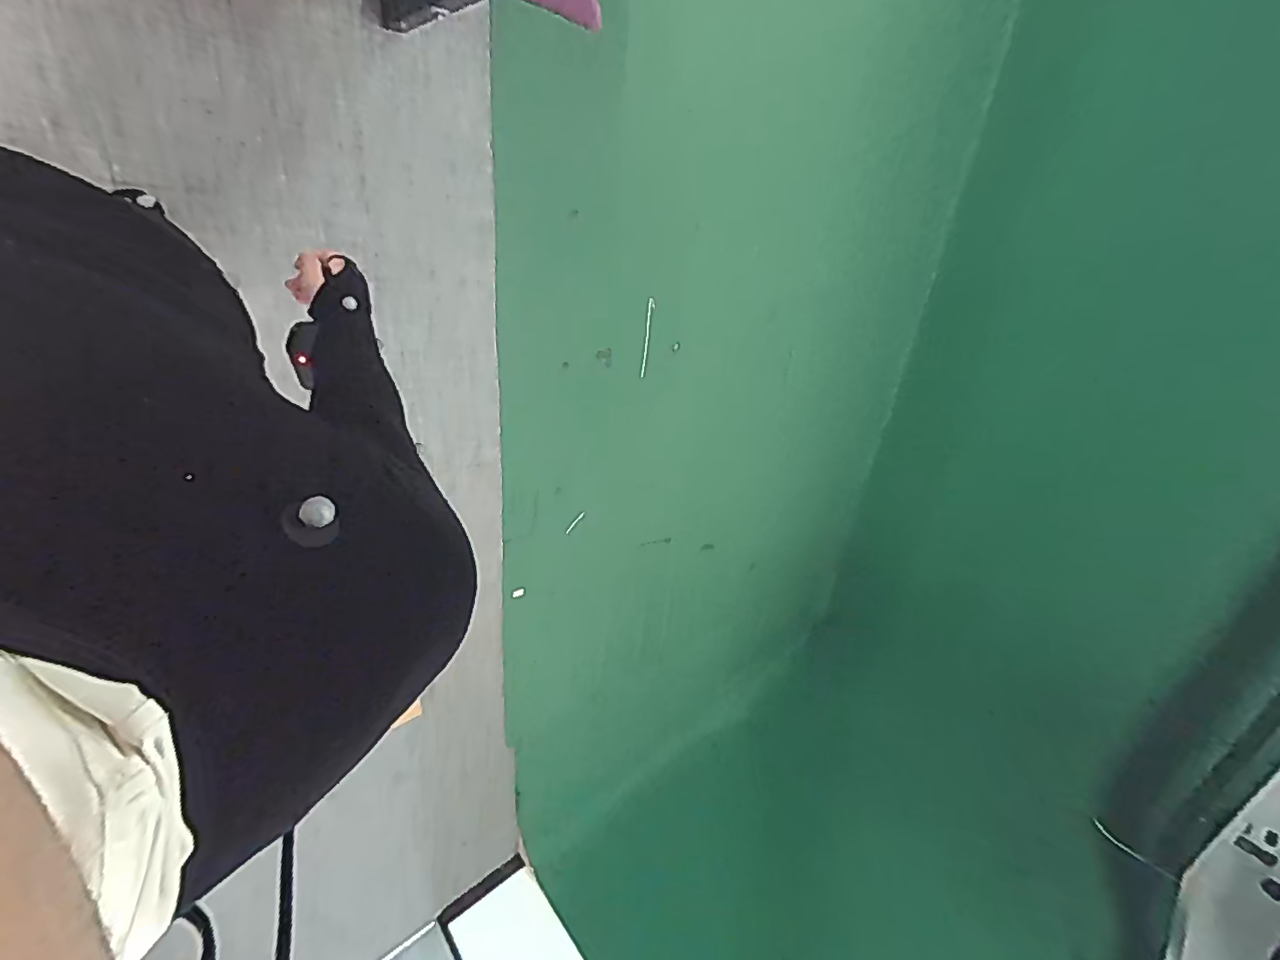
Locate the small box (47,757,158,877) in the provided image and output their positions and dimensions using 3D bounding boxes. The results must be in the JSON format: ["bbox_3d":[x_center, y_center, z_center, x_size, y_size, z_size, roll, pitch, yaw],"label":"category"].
[{"bbox_3d":[-1.431,0.893,1.449,0.179,0.176,0.168,-17,124,-38],"label":"small box"}]
